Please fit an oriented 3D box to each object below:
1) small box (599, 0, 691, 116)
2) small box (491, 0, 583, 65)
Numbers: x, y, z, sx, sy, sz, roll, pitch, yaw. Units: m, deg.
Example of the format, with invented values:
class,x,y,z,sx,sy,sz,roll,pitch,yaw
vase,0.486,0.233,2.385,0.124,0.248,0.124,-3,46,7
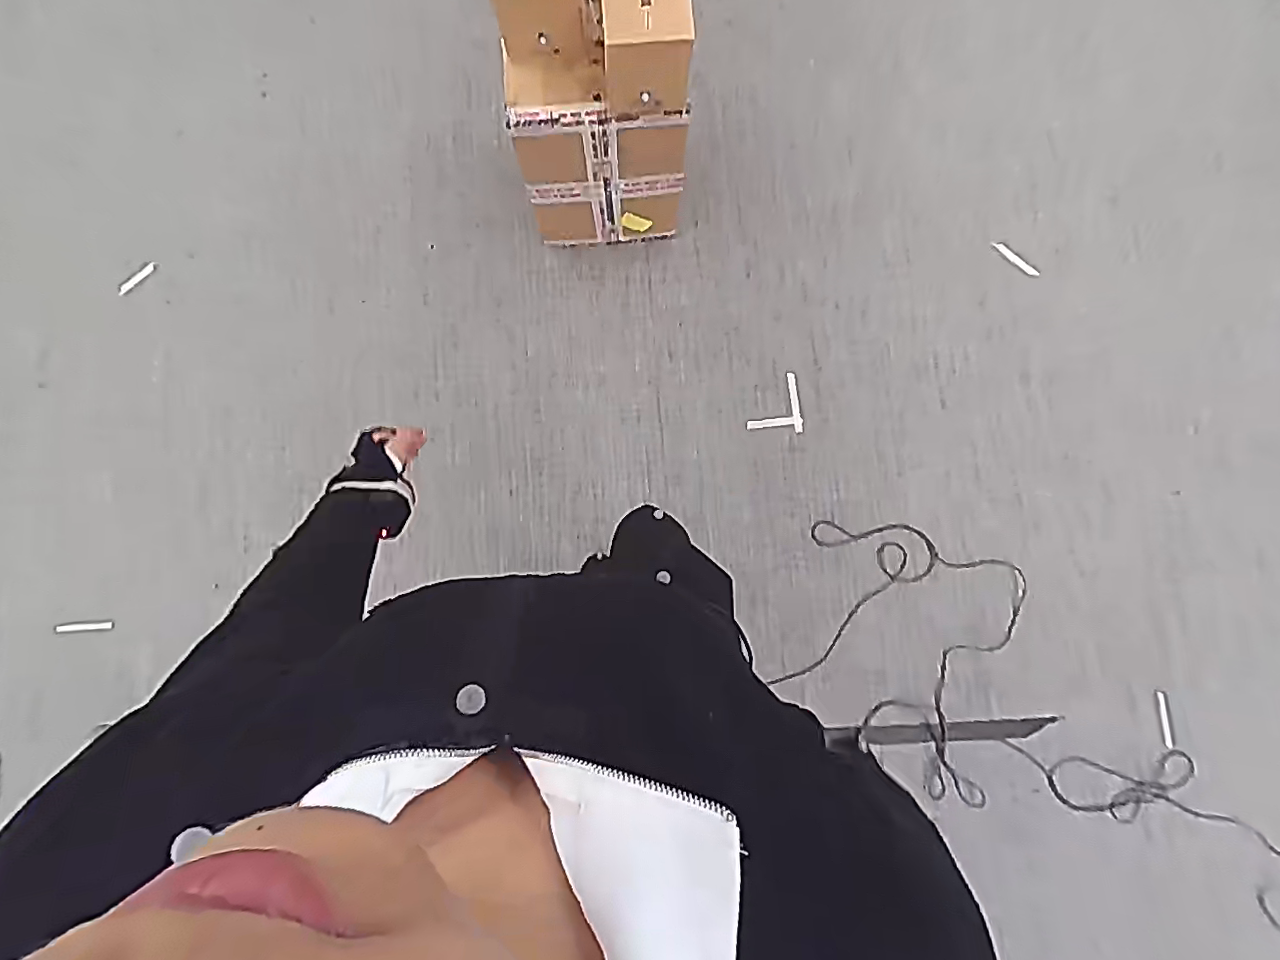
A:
class,x,y,z,sx,sy,sz,roll,pitch,yaw
small box,0.005,-0.862,1.066,0.168,0.176,0.179,-3,85,-1
small box,-0.207,-0.981,1.078,0.168,0.176,0.179,-3,85,1
